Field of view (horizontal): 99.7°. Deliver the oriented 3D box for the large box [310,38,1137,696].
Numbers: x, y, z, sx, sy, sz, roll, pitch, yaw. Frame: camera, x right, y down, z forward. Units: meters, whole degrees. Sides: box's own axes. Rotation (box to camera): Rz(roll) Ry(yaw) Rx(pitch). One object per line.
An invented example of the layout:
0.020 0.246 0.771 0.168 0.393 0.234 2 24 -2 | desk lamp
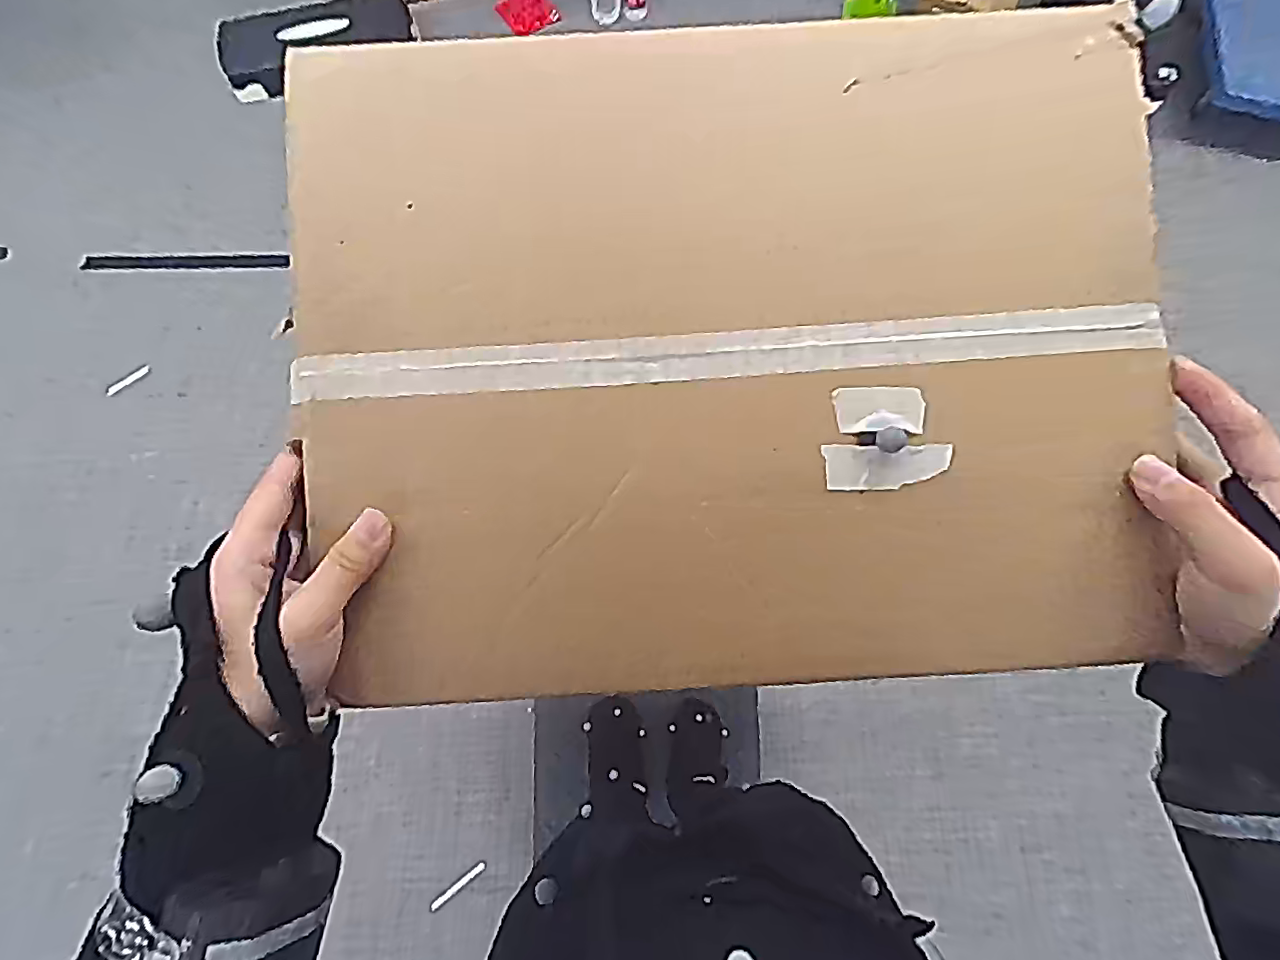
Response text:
0.038 -0.056 0.419 0.408 0.320 0.320 -4 89 -1 | large box
